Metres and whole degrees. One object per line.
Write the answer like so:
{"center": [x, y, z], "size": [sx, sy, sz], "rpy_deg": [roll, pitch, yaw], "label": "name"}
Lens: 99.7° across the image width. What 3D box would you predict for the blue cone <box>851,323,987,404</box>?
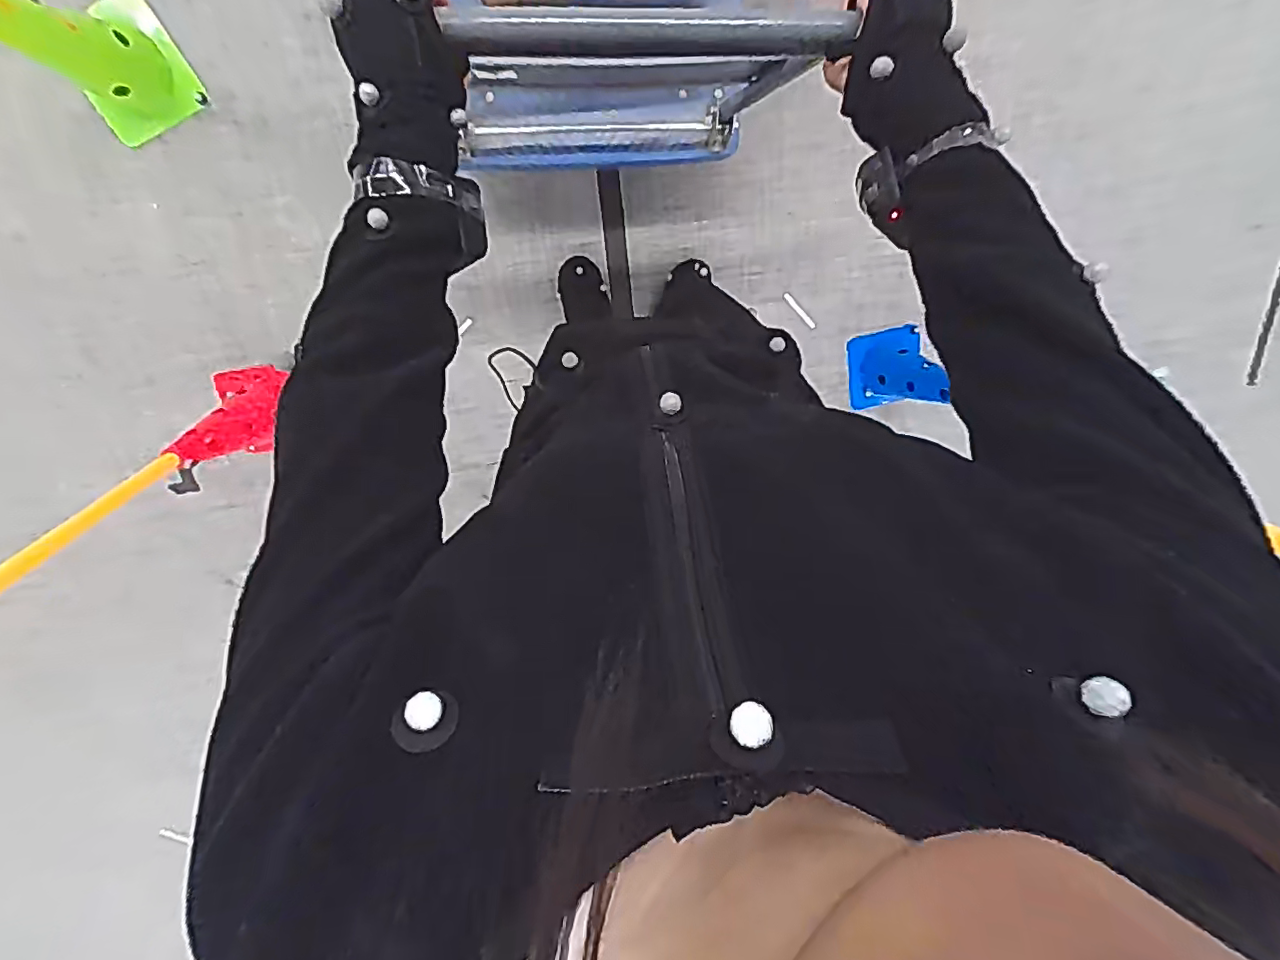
{"center": [0.676, -0.247, 1.286], "size": [0.193, 0.380, 0.192], "rpy_deg": [-13, 112, -3], "label": "blue cone"}
